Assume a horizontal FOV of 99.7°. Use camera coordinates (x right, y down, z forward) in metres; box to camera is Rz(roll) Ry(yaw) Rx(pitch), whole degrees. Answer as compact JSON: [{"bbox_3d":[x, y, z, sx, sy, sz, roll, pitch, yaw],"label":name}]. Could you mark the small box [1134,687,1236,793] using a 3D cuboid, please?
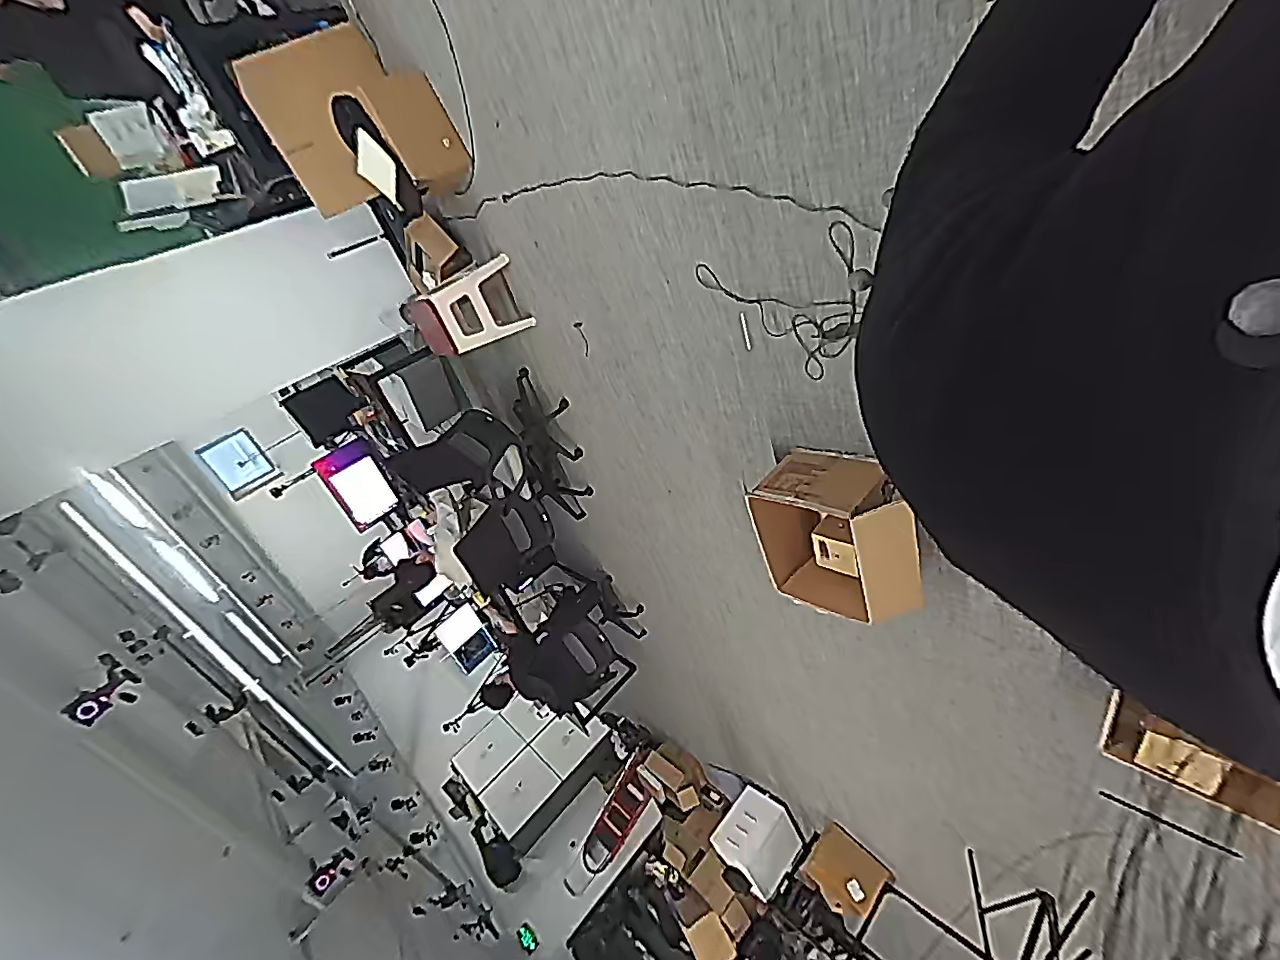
[{"bbox_3d":[1.528,0.719,1.515,0.168,0.176,0.179,19,136,43],"label":"small box"}]
